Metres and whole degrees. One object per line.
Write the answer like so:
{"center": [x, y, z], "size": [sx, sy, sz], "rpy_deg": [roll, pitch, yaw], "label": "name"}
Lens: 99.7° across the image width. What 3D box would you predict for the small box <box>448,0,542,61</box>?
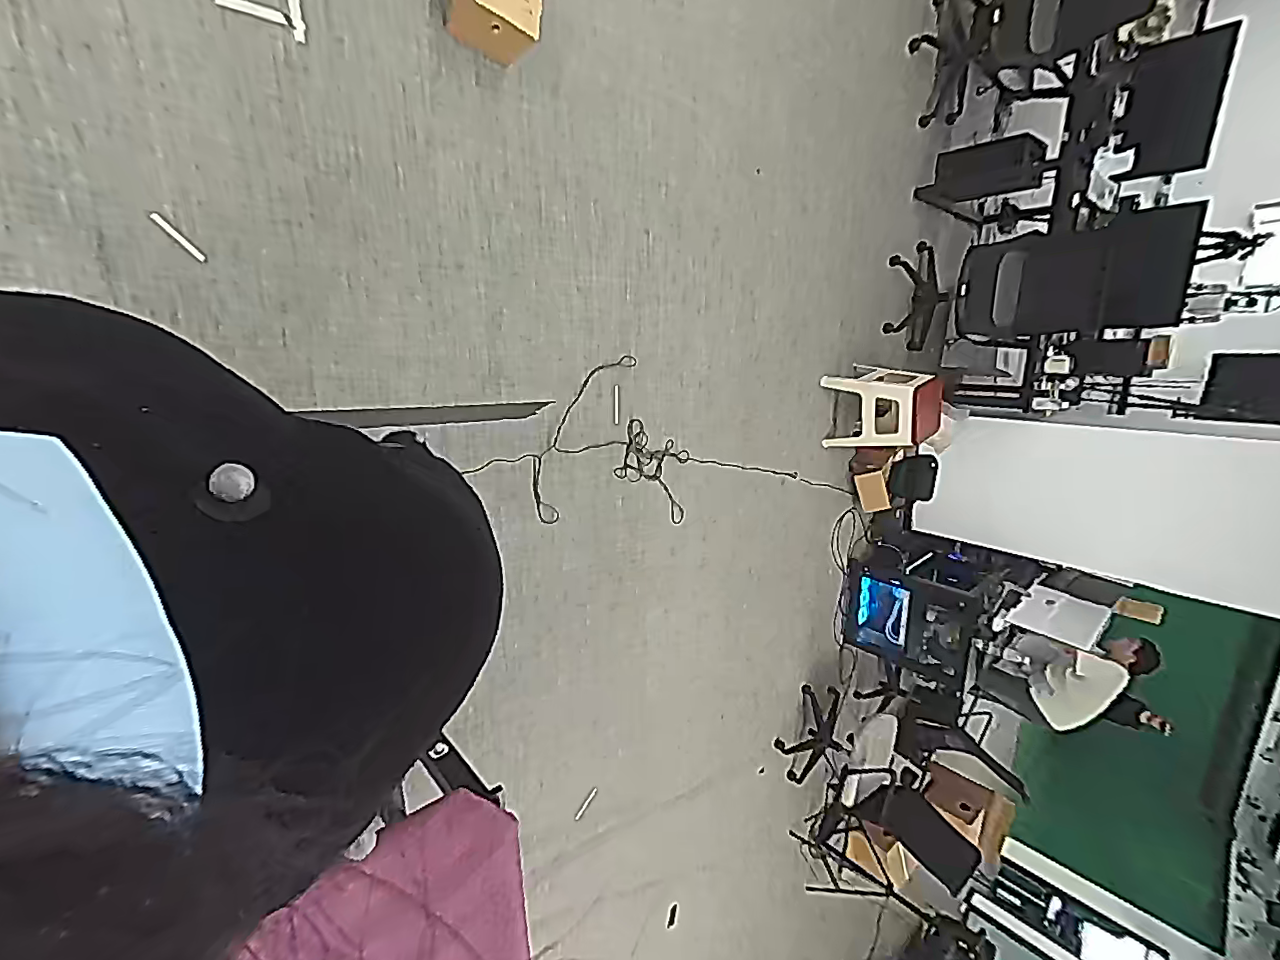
{"center": [-0.364, -1.202, 1.355], "size": [0.179, 0.176, 0.168], "rpy_deg": [1, 100, -43], "label": "small box"}
